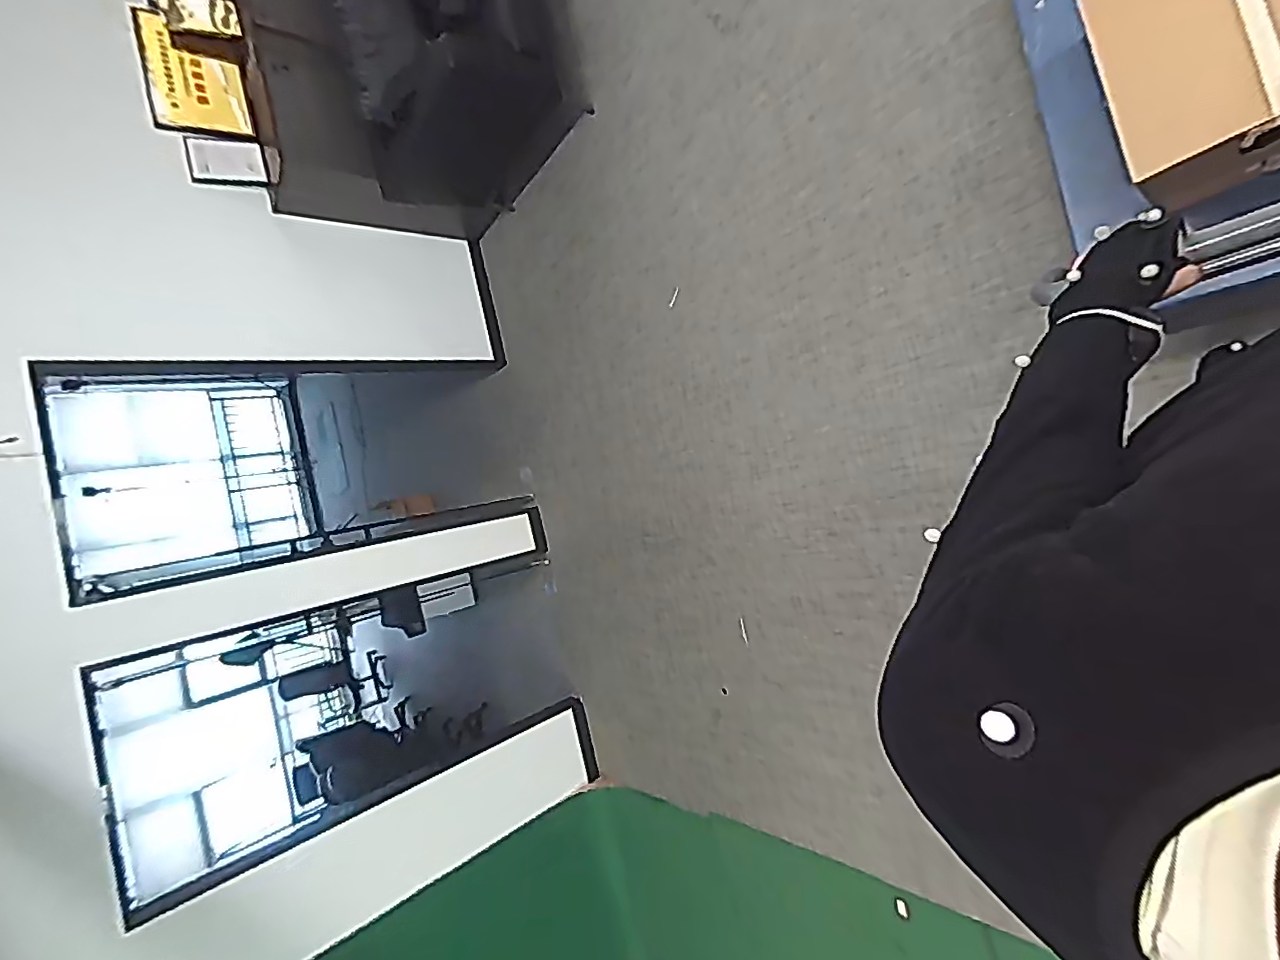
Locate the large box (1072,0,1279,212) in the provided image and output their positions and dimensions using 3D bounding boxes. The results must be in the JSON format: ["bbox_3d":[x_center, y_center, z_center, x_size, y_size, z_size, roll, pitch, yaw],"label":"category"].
[{"bbox_3d":[0.947,-0.712,0.847,0.320,0.320,0.408,-19,84,50],"label":"large box"}]
